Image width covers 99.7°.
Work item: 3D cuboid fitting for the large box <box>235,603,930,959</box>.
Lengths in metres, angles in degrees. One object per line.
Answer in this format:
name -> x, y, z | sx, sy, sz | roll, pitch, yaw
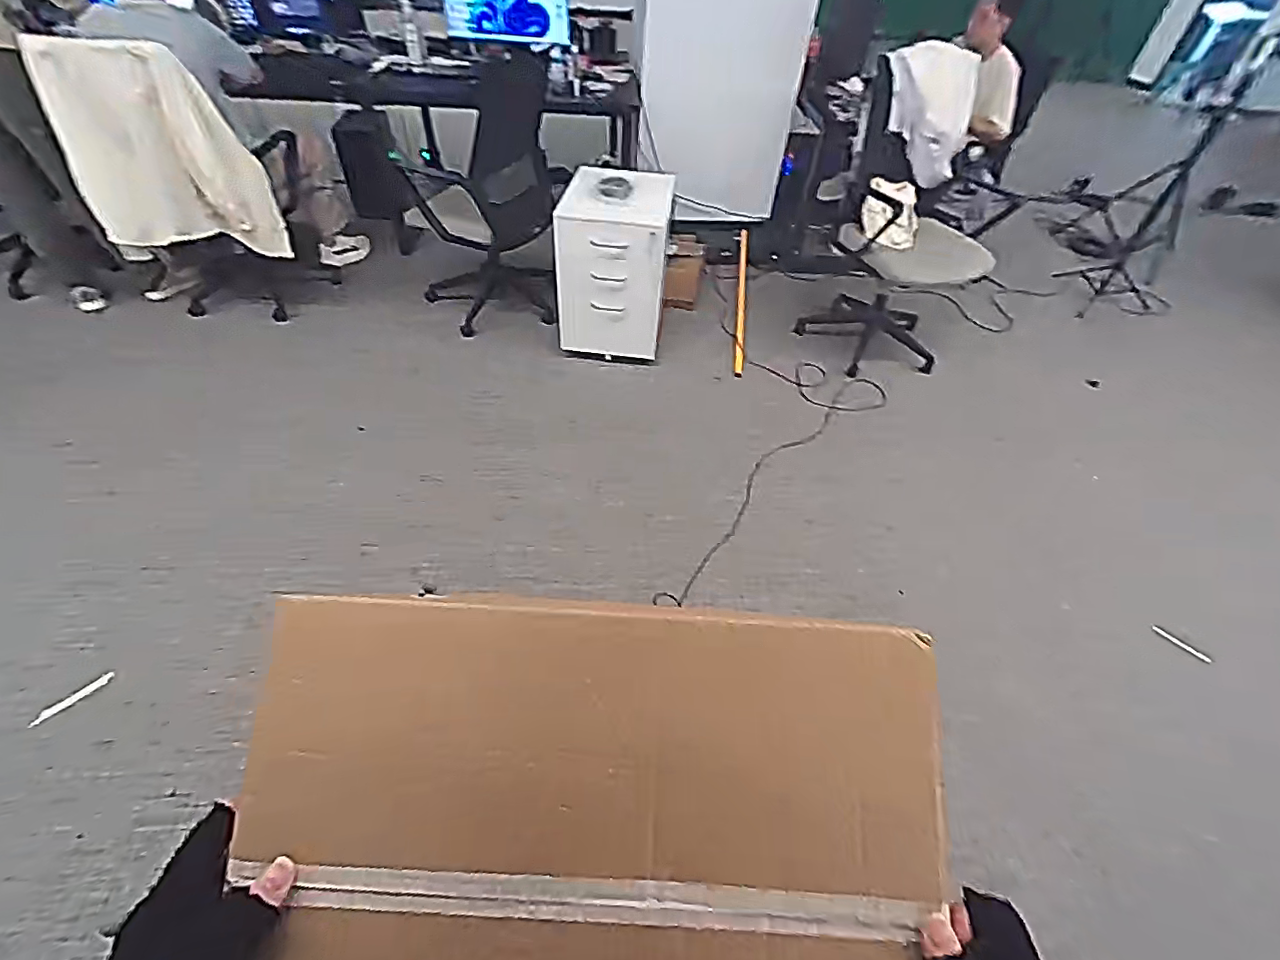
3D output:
large box -> -0.031, 0.271, 0.461 | 0.408, 0.320, 0.320 | 3, 78, 1
